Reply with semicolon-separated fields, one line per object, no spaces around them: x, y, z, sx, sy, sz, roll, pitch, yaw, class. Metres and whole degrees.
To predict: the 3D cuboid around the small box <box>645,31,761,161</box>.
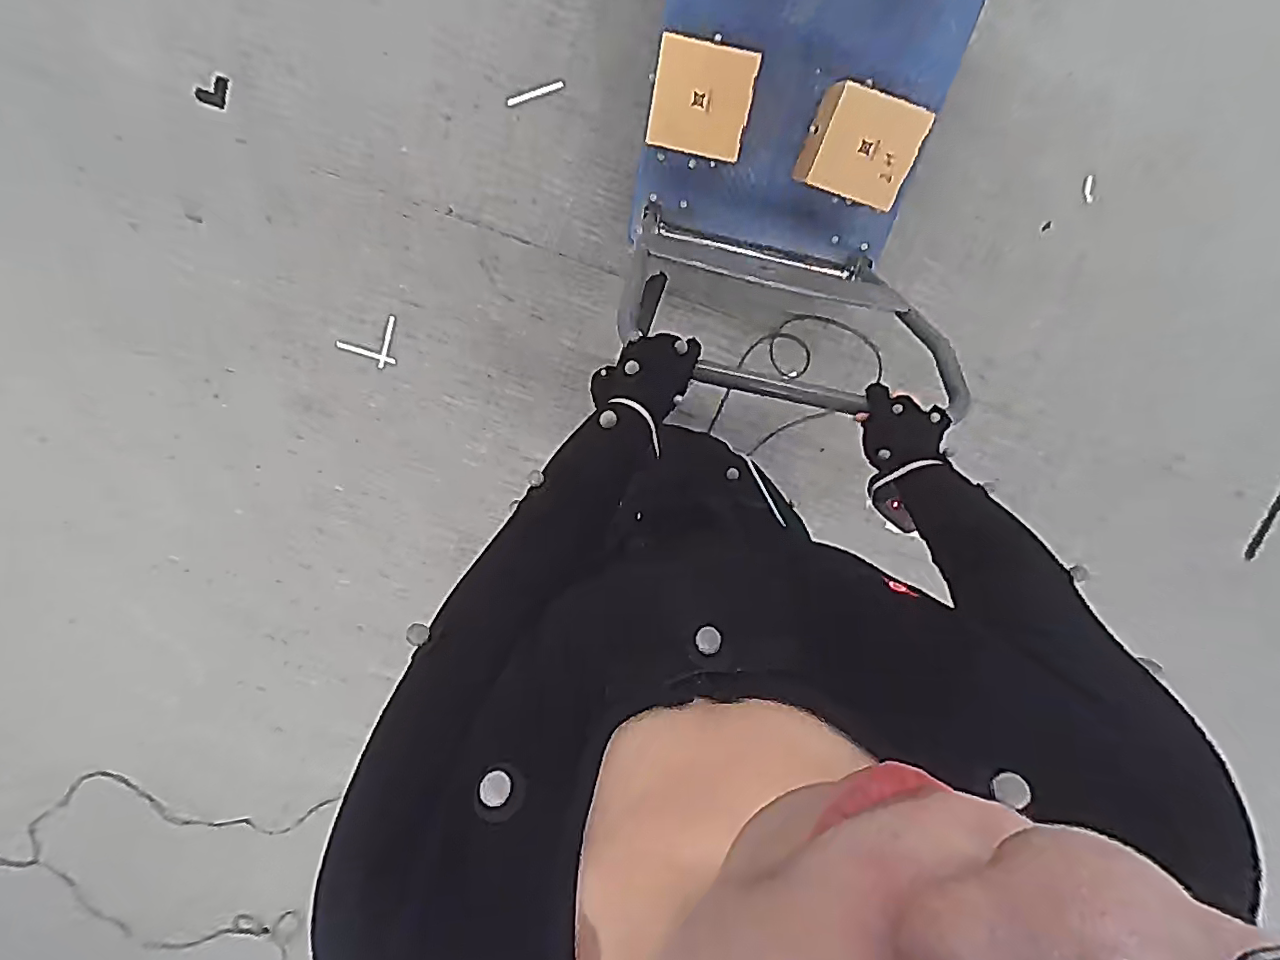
0.111;-0.718;1.028;0.179;0.176;0.168;10;122;-4;small box

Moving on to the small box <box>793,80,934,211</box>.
0.420;-0.644;1.053;0.179;0.176;0.168;16;122;-6;small box
